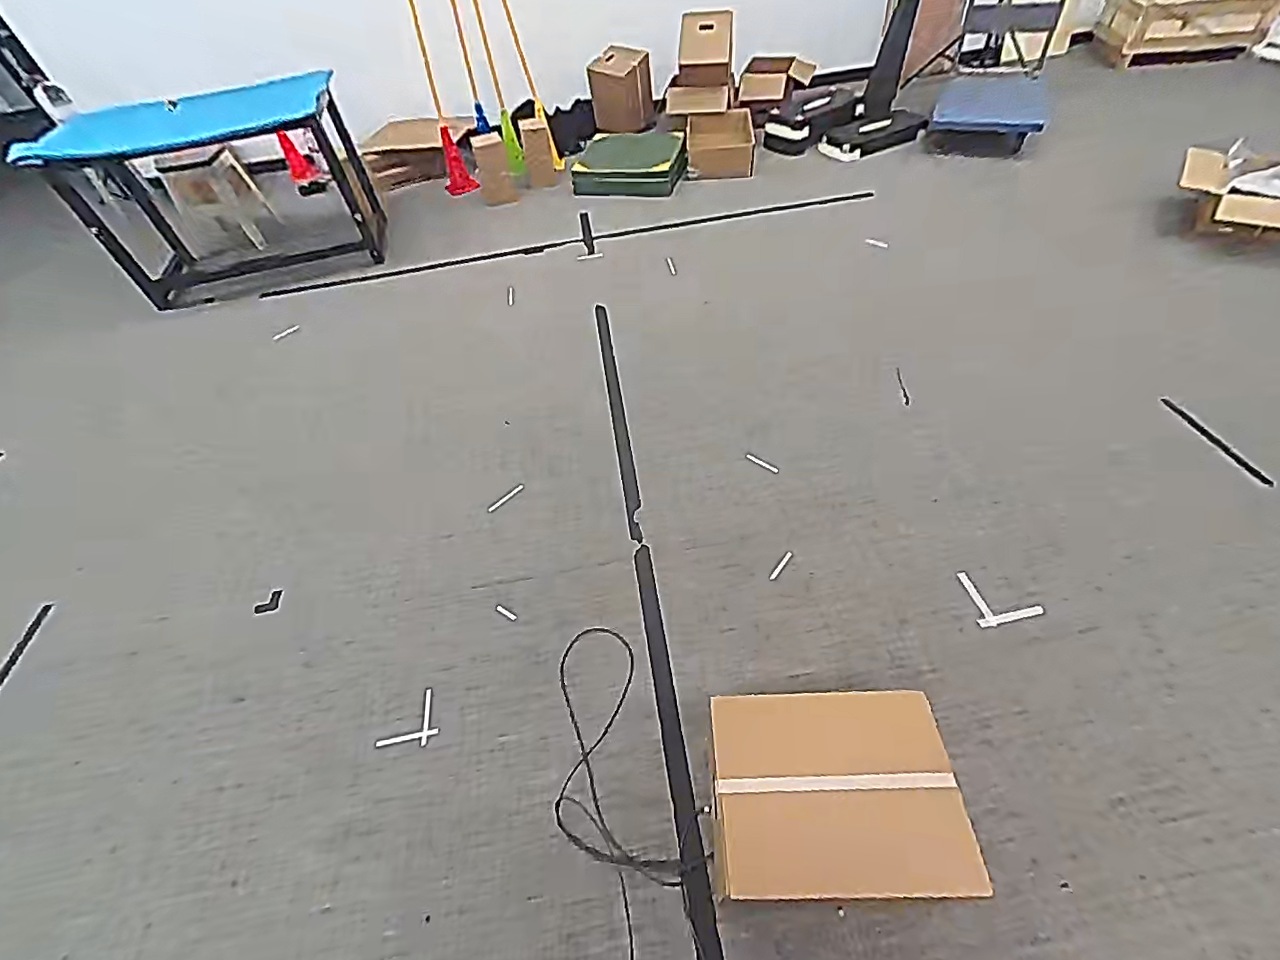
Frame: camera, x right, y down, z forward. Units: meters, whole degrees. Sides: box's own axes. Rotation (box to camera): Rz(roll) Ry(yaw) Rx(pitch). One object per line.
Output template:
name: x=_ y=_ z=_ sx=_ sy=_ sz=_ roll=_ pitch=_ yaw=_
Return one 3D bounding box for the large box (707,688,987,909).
large box: x=0.348 y=0.623 z=1.050 sx=0.408 sy=0.320 sz=0.320 roll=-3 pitch=49 yaw=3
